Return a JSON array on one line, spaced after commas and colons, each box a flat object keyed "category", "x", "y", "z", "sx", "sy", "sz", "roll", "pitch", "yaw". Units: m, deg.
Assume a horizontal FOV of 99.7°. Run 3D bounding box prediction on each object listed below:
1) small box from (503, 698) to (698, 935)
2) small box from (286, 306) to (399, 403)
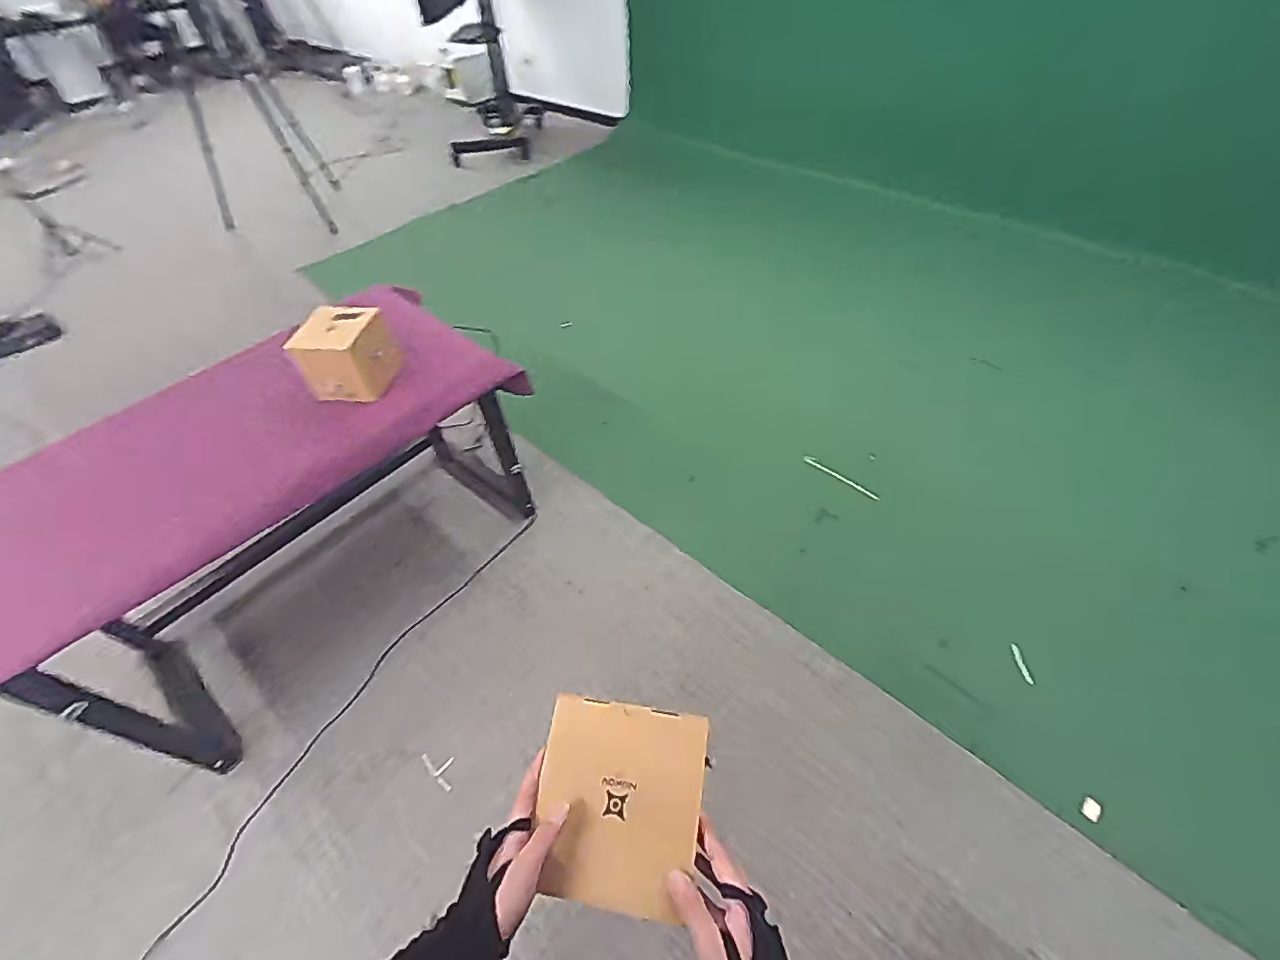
[{"category": "small box", "x": -0.026, "y": 0.353, "z": 0.593, "sx": 0.168, "sy": 0.176, "sz": 0.179, "roll": 5, "pitch": 62, "yaw": 9}, {"category": "small box", "x": -0.741, "y": -0.320, "z": 1.376, "sx": 0.168, "sy": 0.176, "sz": 0.179, "roll": 4, "pitch": 51, "yaw": 7}]
